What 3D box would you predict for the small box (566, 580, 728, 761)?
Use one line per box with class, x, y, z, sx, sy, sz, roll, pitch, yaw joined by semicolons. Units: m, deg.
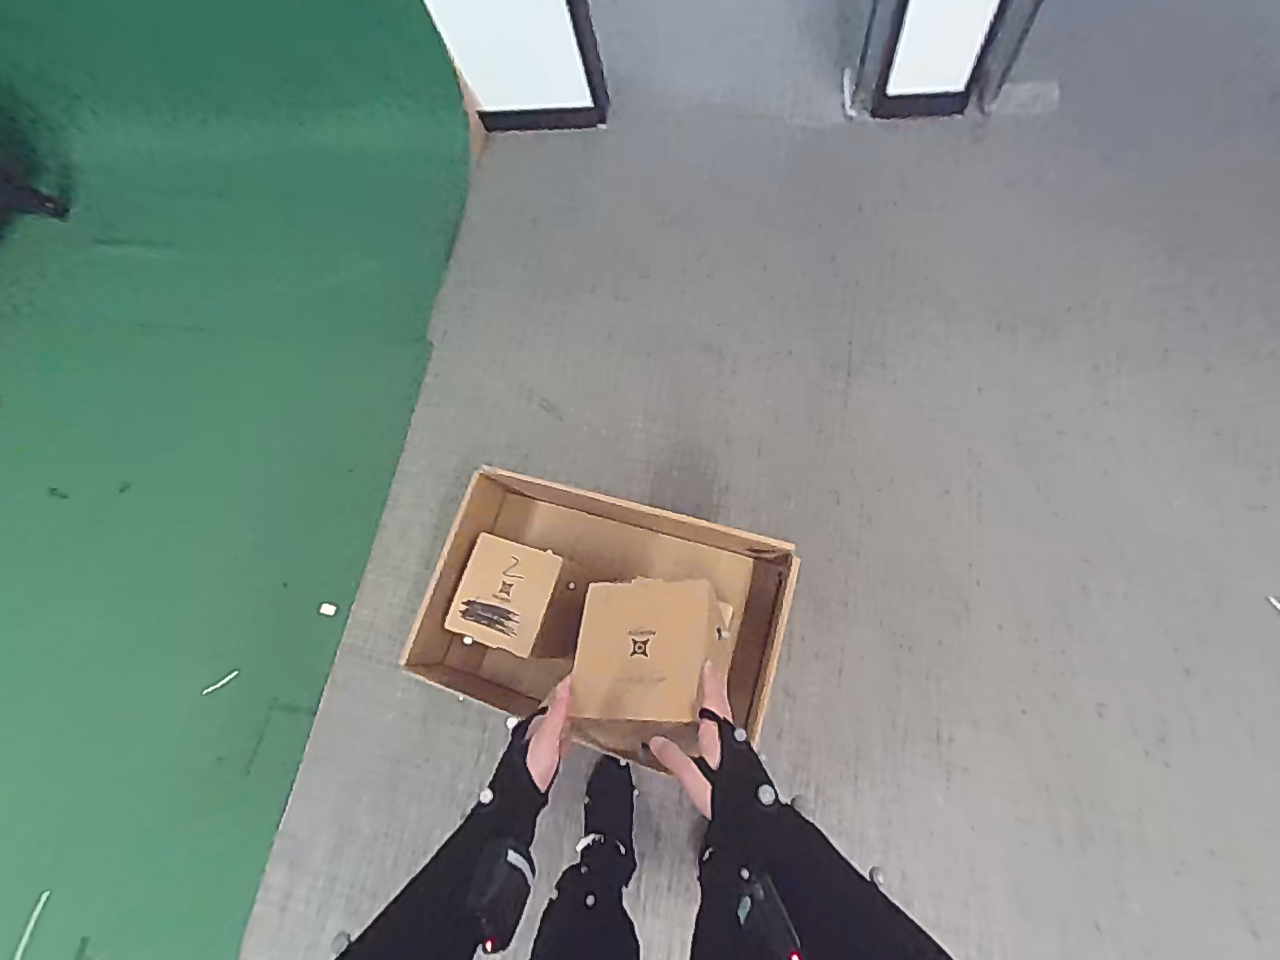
small box;0.022;0.250;0.713;0.168;0.176;0.179;-5;50;16
